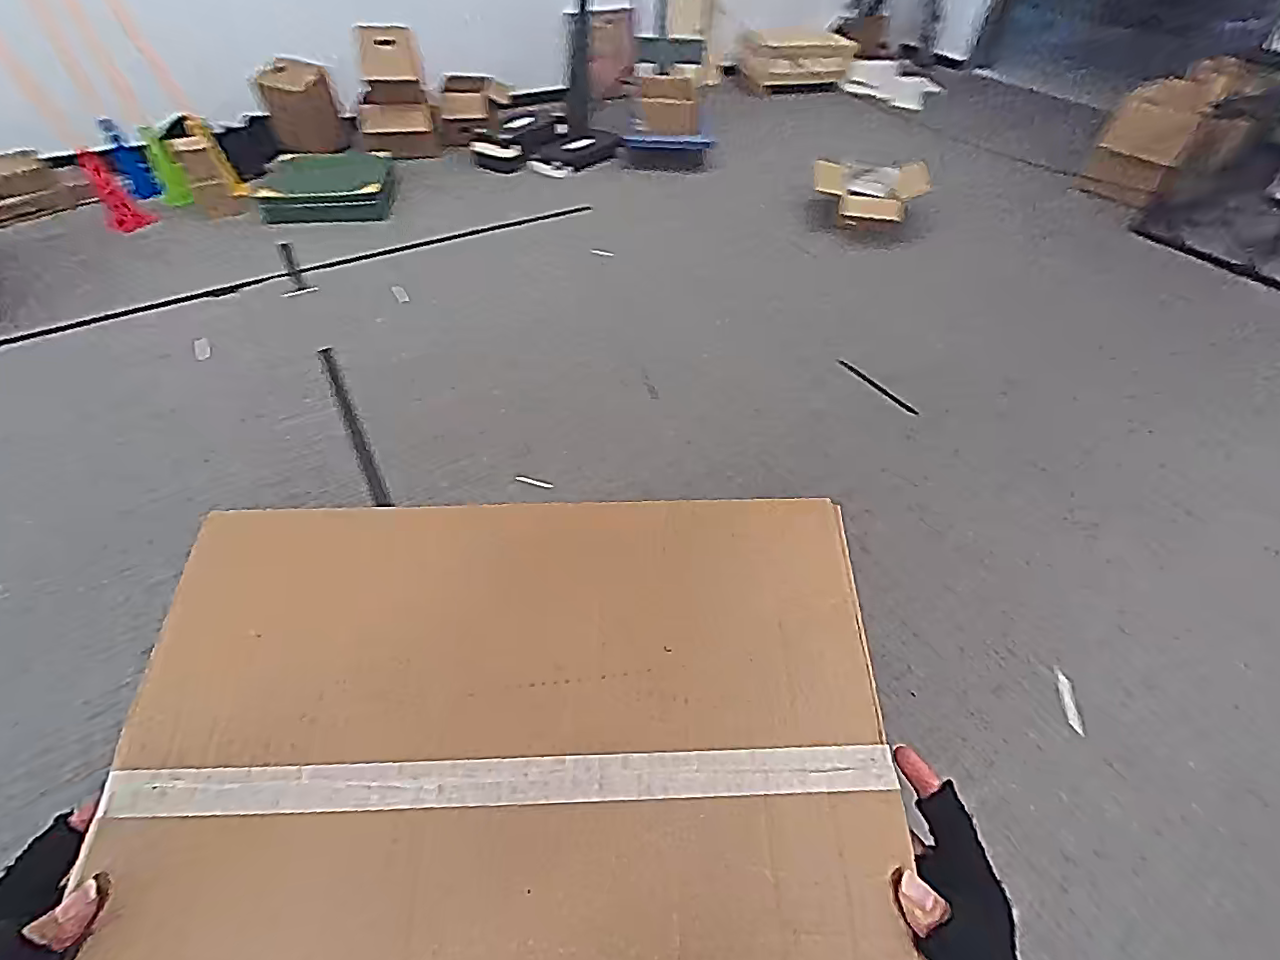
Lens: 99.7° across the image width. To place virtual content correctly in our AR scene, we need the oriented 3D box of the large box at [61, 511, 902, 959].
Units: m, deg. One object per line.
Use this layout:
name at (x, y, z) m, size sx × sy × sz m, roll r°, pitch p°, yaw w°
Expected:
large box at (-0.076, 0.233, 0.422) m, size 0.408 × 0.320 × 0.320 m, roll -2°, pitch 62°, yaw -2°
